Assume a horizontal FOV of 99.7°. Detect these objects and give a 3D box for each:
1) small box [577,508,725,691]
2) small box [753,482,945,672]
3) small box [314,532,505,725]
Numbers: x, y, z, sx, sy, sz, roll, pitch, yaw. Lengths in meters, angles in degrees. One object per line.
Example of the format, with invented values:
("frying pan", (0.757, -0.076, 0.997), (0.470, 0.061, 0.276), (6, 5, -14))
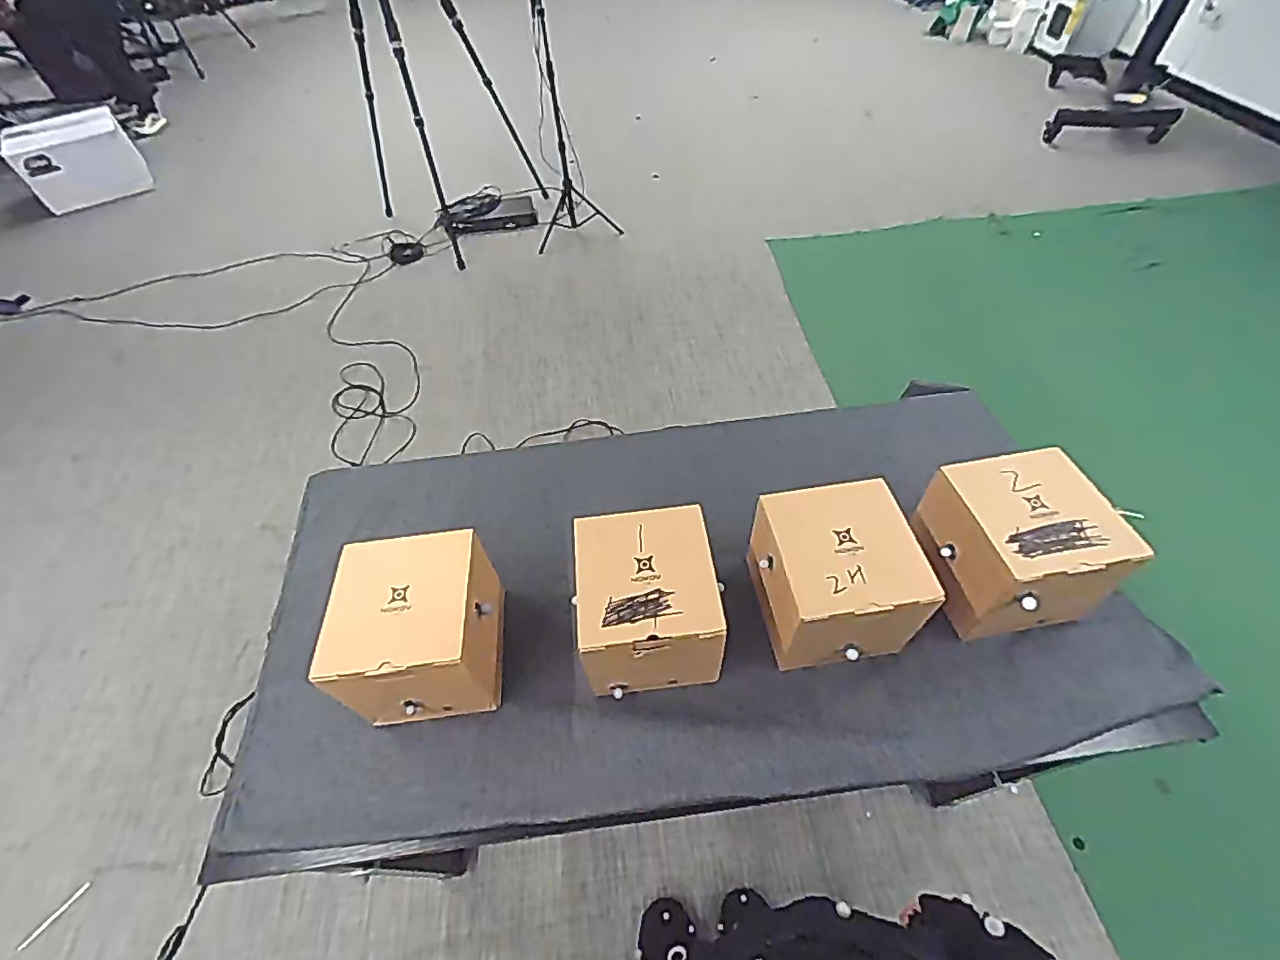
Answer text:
("small box", (0.012, 0.161, 0.700), (0.168, 0.176, 0.179), (-6, 51, -1))
("small box", (0.252, 0.129, 0.708), (0.168, 0.176, 0.179), (-9, 52, -1))
("small box", (-0.275, 0.192, 0.694), (0.168, 0.176, 0.179), (-7, 51, -3))
